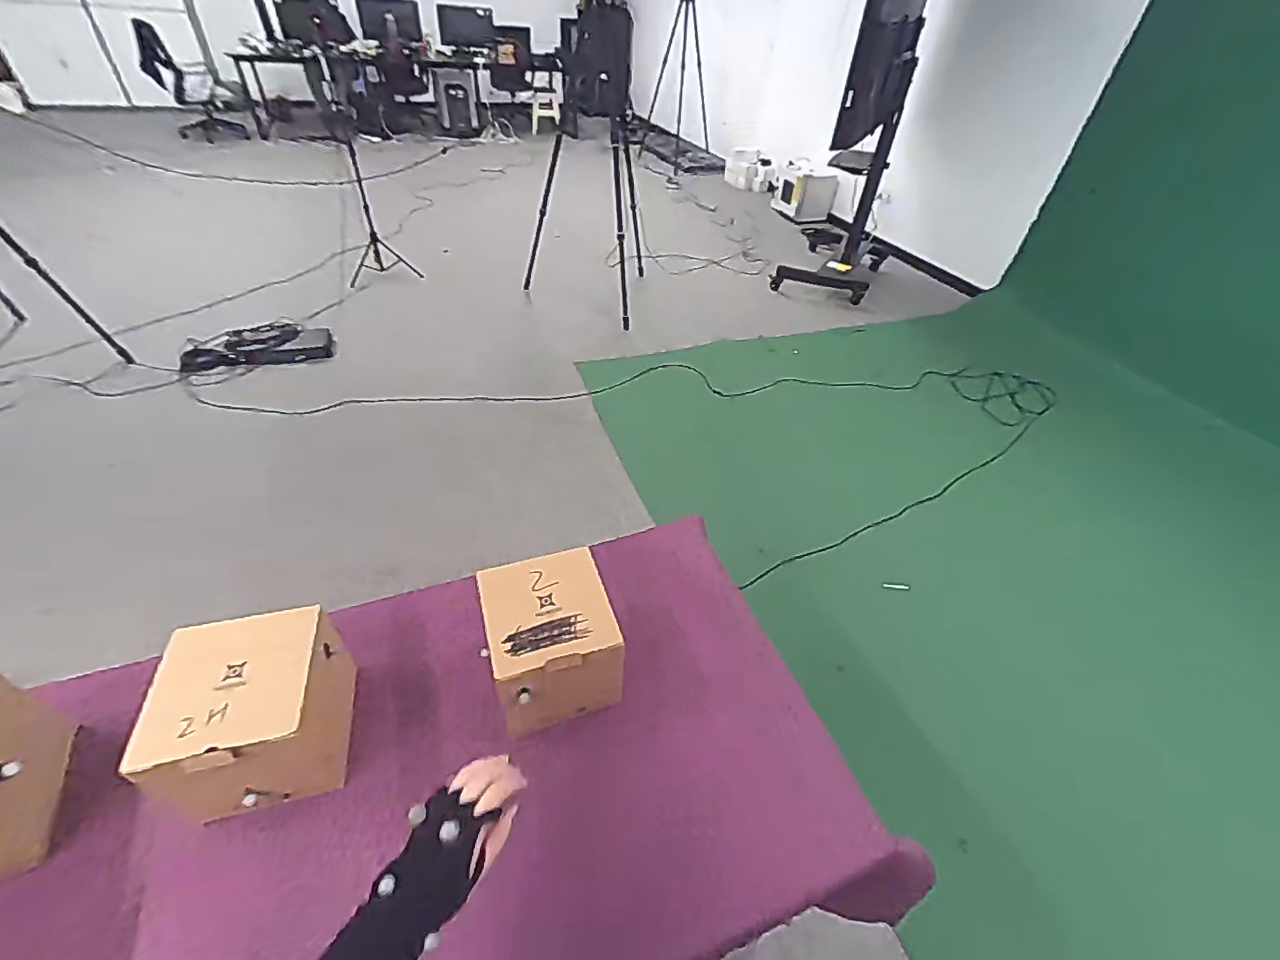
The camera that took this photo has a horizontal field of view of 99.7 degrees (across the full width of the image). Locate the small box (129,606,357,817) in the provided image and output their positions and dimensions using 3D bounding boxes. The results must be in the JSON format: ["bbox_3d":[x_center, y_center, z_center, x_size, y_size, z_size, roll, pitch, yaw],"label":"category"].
[{"bbox_3d":[-0.476,0.291,0.687,0.168,0.176,0.179,-8,45,-13],"label":"small box"}]

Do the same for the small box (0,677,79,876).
[{"bbox_3d":[-0.785,0.349,0.597,0.168,0.176,0.179,-15,47,-22],"label":"small box"}]
